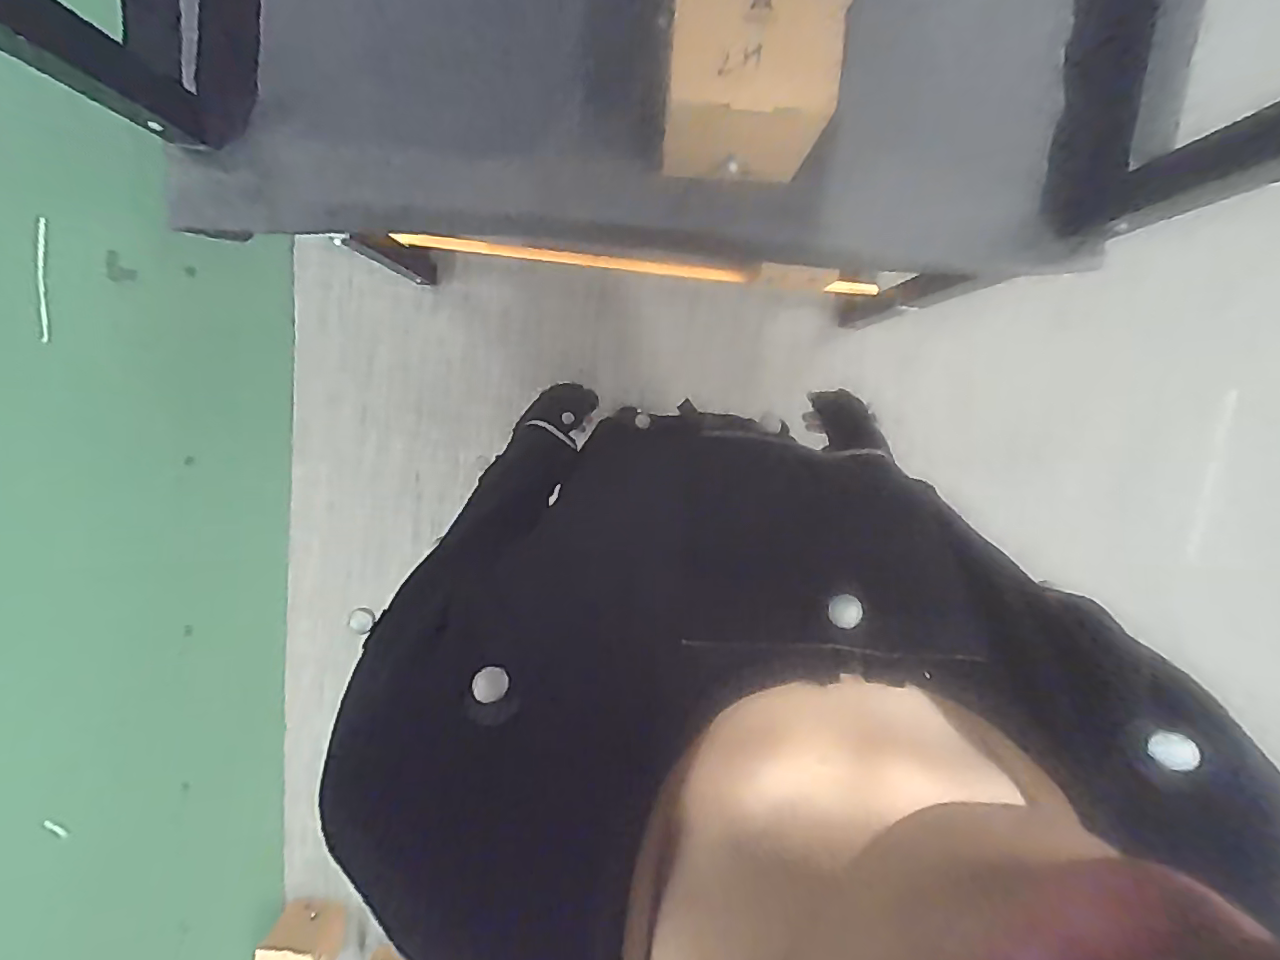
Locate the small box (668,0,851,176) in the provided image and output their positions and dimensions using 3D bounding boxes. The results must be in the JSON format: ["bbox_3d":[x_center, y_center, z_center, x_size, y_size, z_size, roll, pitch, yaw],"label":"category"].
[{"bbox_3d":[0.121,-0.470,0.599,0.168,0.176,0.179,4,97,0],"label":"small box"}]

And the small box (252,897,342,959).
[{"bbox_3d":[-1.011,1.392,1.600,0.168,0.176,0.179,8,97,-2],"label":"small box"}]
